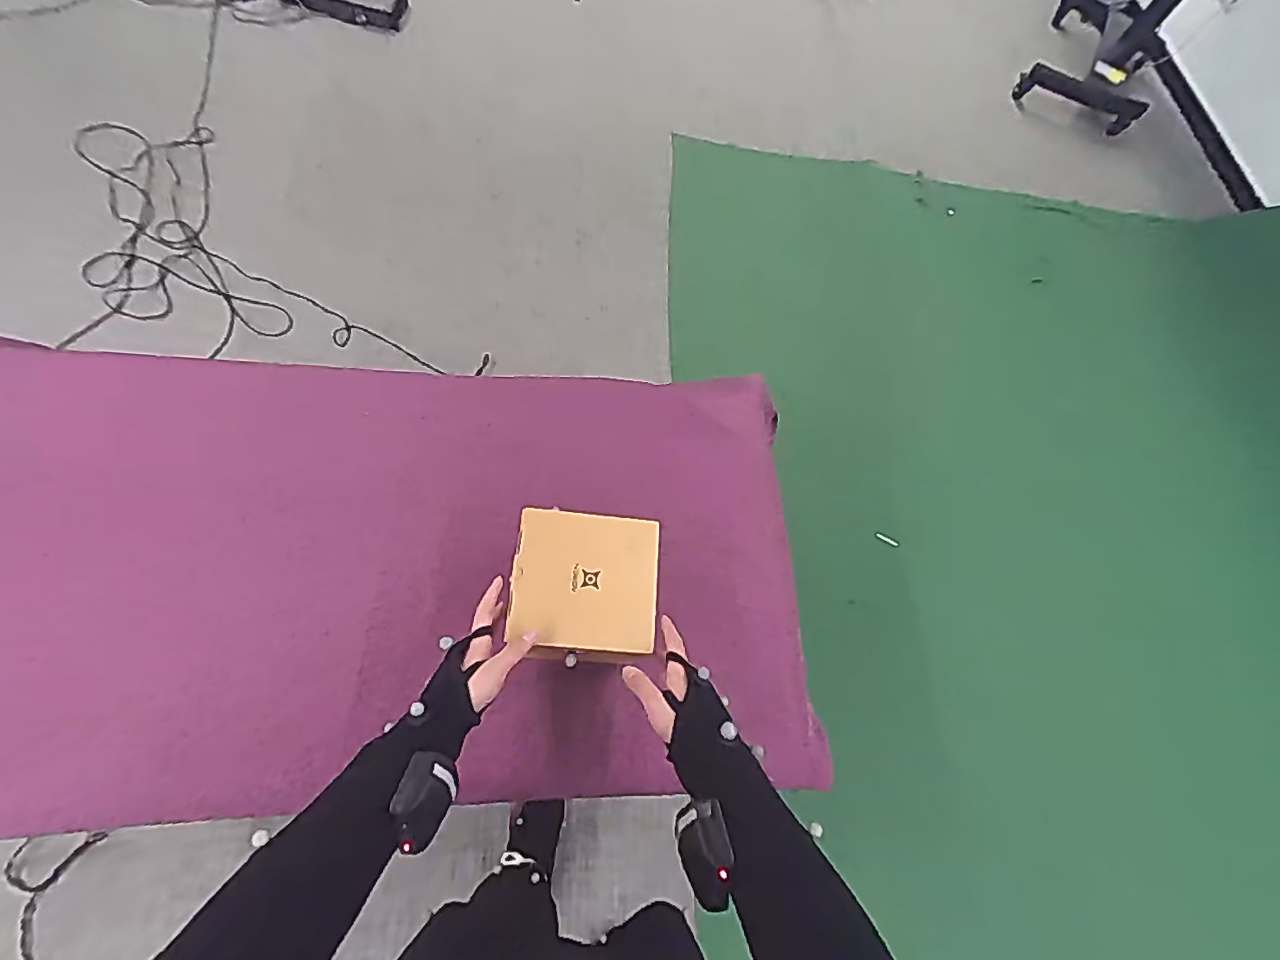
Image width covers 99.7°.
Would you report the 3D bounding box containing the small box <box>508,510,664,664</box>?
[{"bbox_3d":[-0.073,0.152,0.724,0.179,0.176,0.168,7,67,-7],"label":"small box"}]
